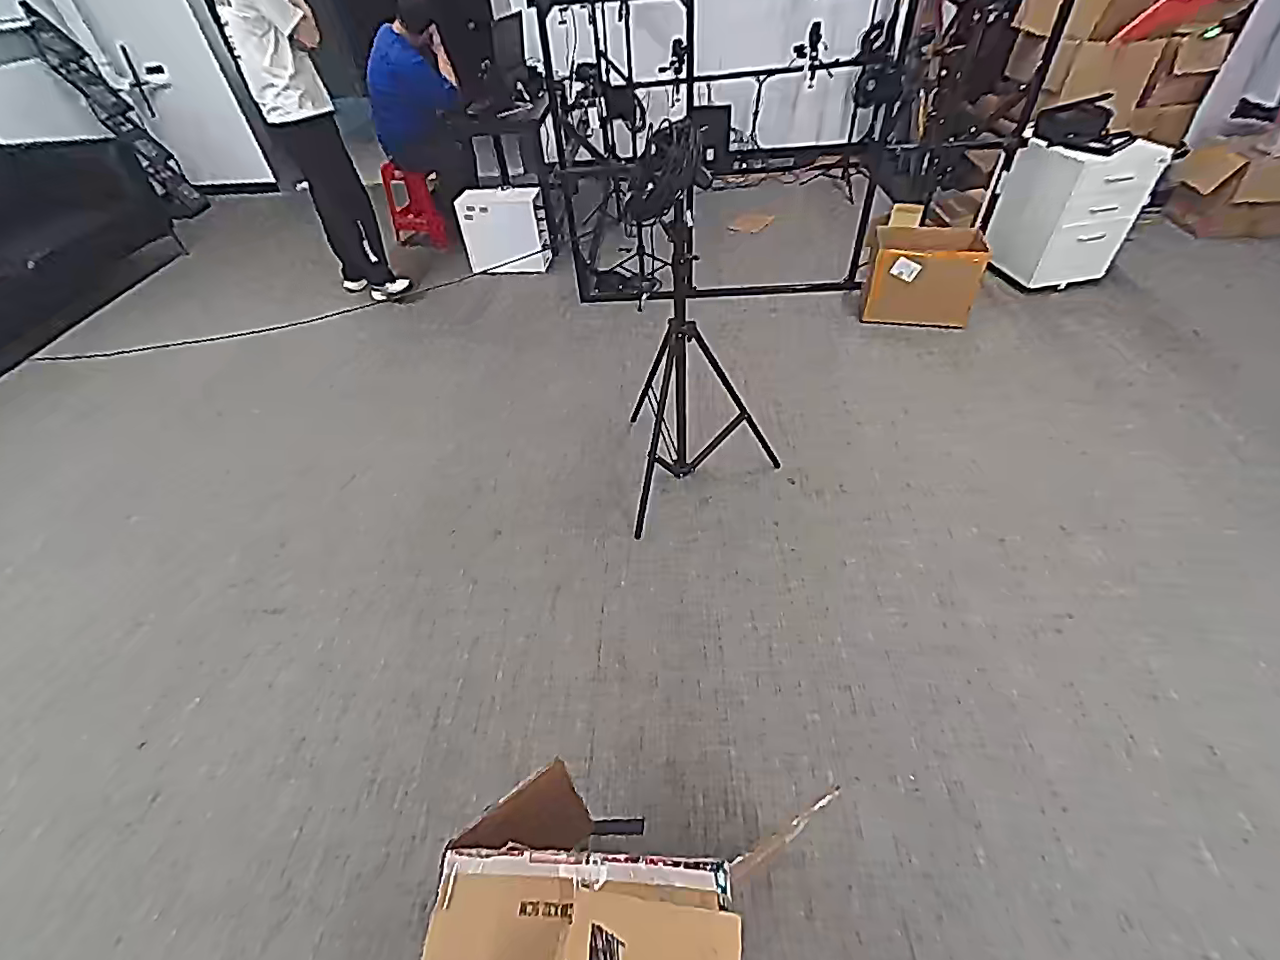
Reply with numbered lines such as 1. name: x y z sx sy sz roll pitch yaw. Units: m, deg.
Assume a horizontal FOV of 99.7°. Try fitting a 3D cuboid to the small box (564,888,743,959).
1. small box: 0.011 0.551 0.564 0.179 0.176 0.168 4 48 6
